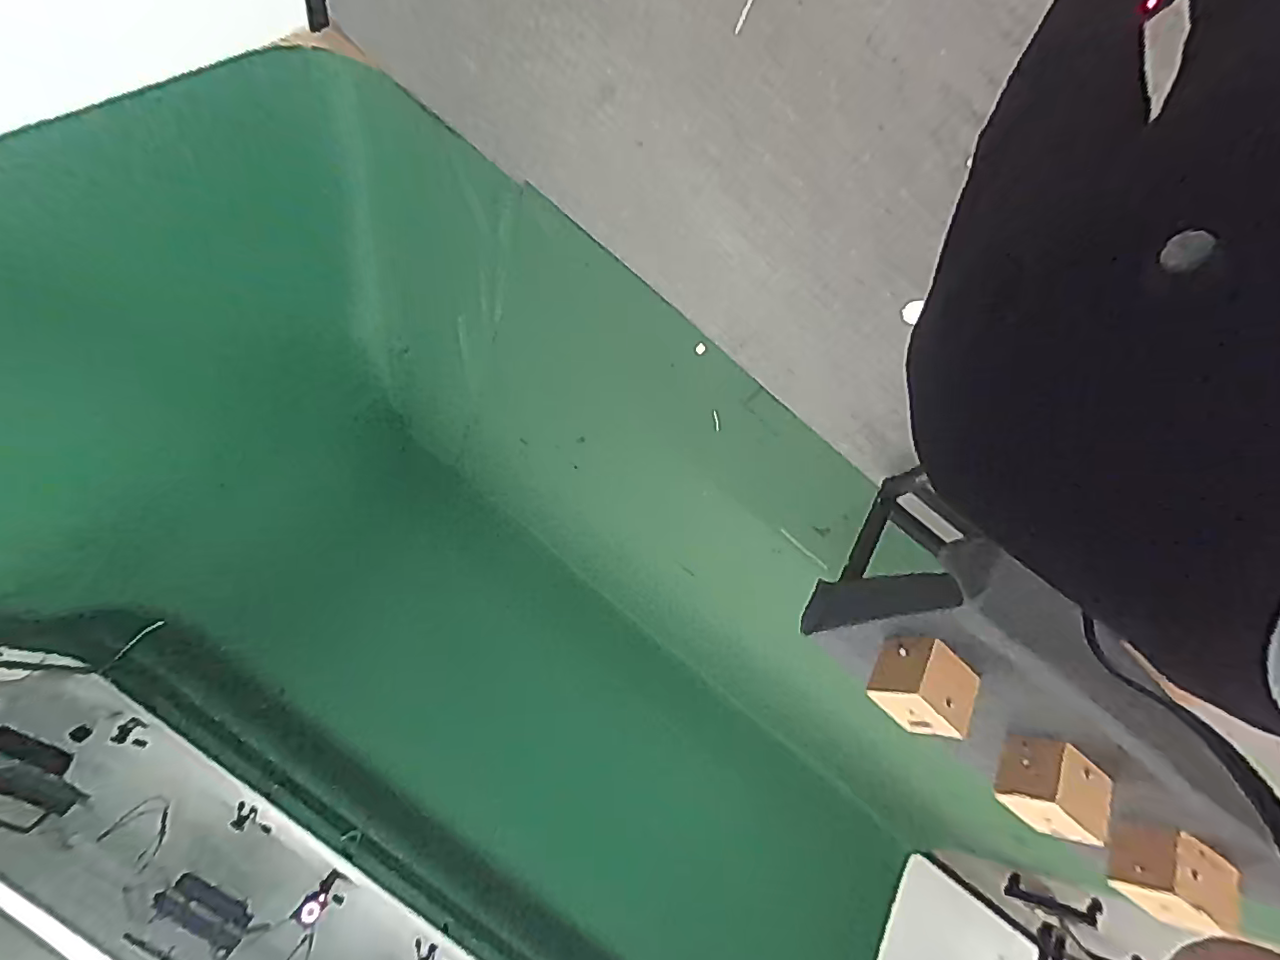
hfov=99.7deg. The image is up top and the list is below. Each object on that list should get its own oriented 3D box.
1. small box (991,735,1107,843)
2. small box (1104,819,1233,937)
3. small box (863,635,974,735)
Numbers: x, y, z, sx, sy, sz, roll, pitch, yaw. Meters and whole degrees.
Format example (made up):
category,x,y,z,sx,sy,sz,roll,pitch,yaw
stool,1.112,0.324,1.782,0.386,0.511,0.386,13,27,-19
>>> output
category,x,y,z,sx,sy,sz,roll,pitch,yaw
small box,1.063,0.790,1.405,0.179,0.176,0.168,41,151,-4
small box,1.358,1.011,1.392,0.168,0.176,0.179,37,153,6
small box,0.723,0.523,1.398,0.179,0.176,0.168,43,150,-8
